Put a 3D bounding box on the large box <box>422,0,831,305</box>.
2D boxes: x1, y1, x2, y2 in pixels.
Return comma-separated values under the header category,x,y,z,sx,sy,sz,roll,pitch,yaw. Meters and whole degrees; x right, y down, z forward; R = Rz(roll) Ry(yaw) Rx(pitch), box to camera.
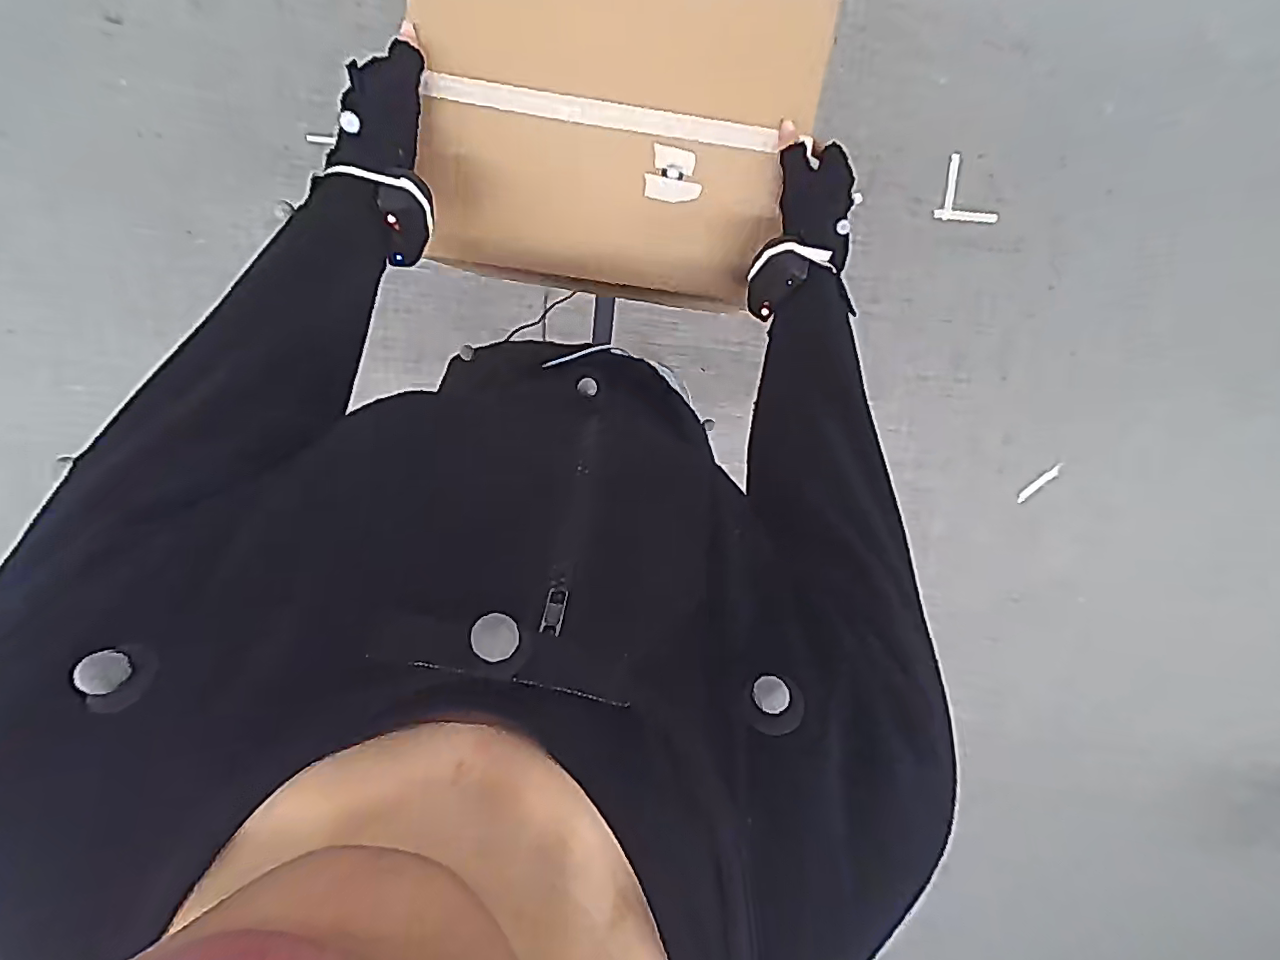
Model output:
category,x,y,z,sx,sy,sz,roll,pitch,yaw
large box,-0.031,-0.412,0.699,0.408,0.320,0.320,6,107,-5
